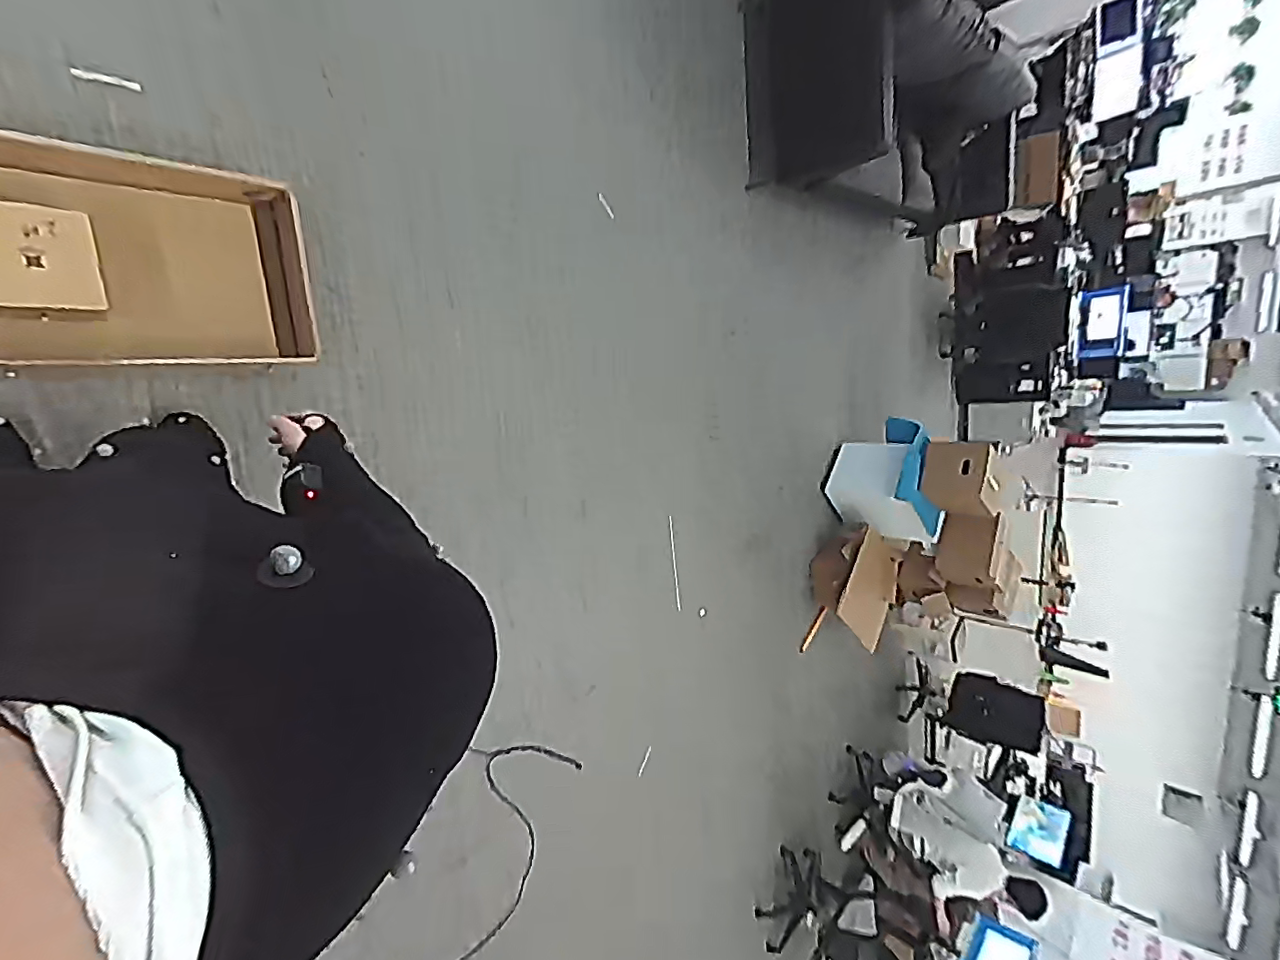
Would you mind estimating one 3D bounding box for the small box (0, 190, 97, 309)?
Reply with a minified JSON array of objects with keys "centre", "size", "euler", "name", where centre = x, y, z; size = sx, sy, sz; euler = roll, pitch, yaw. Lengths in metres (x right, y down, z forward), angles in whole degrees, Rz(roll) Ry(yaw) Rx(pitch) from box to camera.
[{"centre":[-1.136,-0.418,0.999],"size":[0.168,0.176,0.179],"euler":[-14,104,-45],"name":"small box"}]
